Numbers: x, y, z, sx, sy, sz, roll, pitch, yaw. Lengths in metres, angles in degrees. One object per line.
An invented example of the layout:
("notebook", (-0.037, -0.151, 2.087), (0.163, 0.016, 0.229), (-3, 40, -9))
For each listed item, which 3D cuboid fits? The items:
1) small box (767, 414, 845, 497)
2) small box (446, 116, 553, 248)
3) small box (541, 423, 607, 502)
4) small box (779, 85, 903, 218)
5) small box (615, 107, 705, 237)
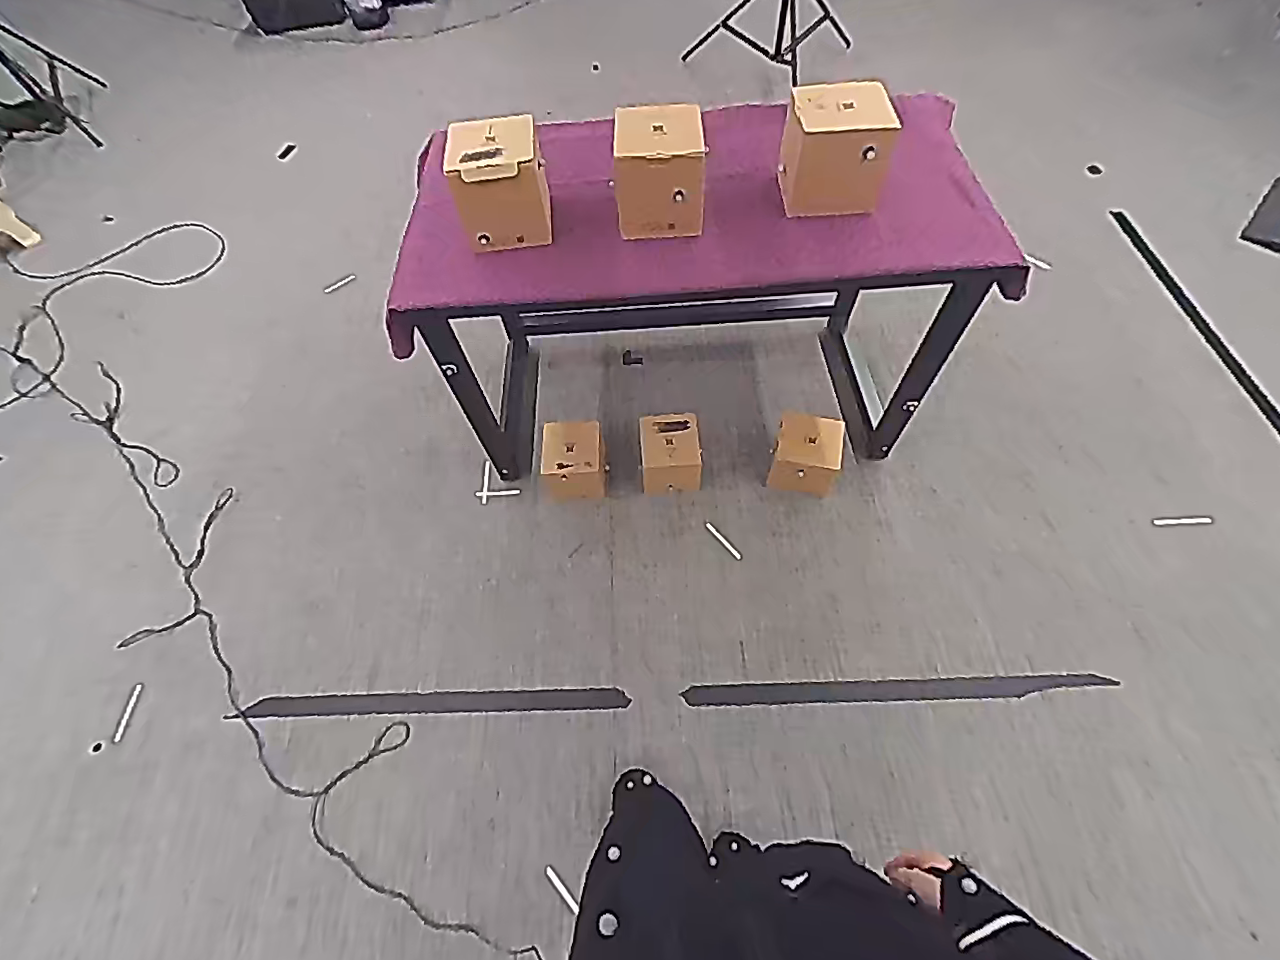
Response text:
("small box", (0.481, -0.068, 1.579), (0.179, 0.176, 0.168), (11, 62, 11))
("small box", (-0.271, -0.583, 1.076), (0.168, 0.176, 0.179), (-7, 58, -1))
("small box", (-0.191, -0.051, 1.610), (0.168, 0.176, 0.179), (-1, 59, 3))
("small box", (0.386, -0.645, 1.072), (0.179, 0.176, 0.168), (-2, 59, 3))
("small box", (0.040, -0.601, 1.070), (0.168, 0.176, 0.179), (-2, 58, 1))
